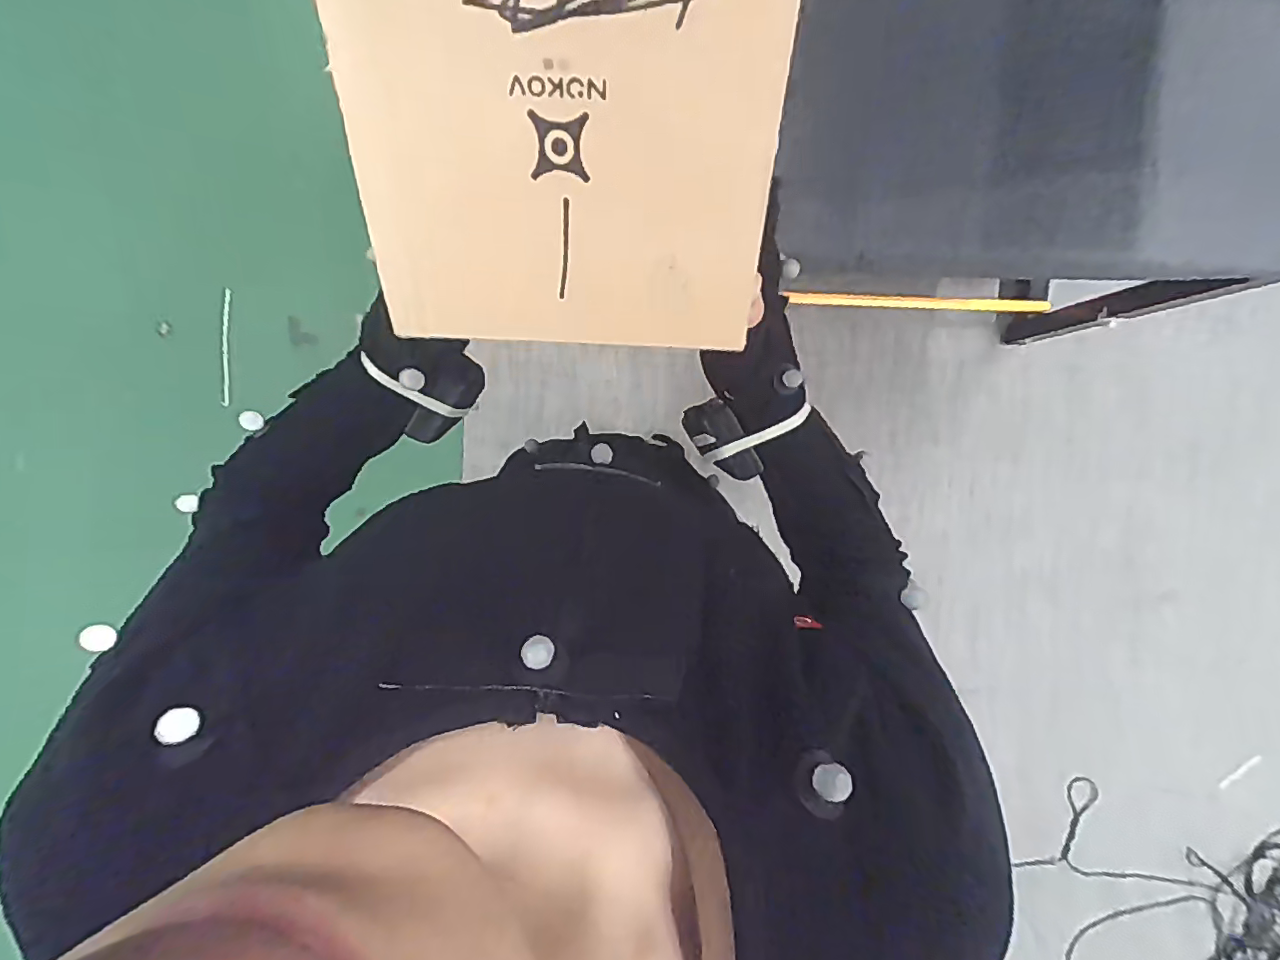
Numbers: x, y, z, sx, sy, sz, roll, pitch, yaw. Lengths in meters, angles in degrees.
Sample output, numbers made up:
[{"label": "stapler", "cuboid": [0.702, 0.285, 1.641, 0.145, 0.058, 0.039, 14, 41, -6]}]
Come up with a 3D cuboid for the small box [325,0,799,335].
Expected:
[{"label": "small box", "cuboid": [-0.028, -0.186, 0.267, 0.168, 0.176, 0.179, 2, 124, -1]}]
